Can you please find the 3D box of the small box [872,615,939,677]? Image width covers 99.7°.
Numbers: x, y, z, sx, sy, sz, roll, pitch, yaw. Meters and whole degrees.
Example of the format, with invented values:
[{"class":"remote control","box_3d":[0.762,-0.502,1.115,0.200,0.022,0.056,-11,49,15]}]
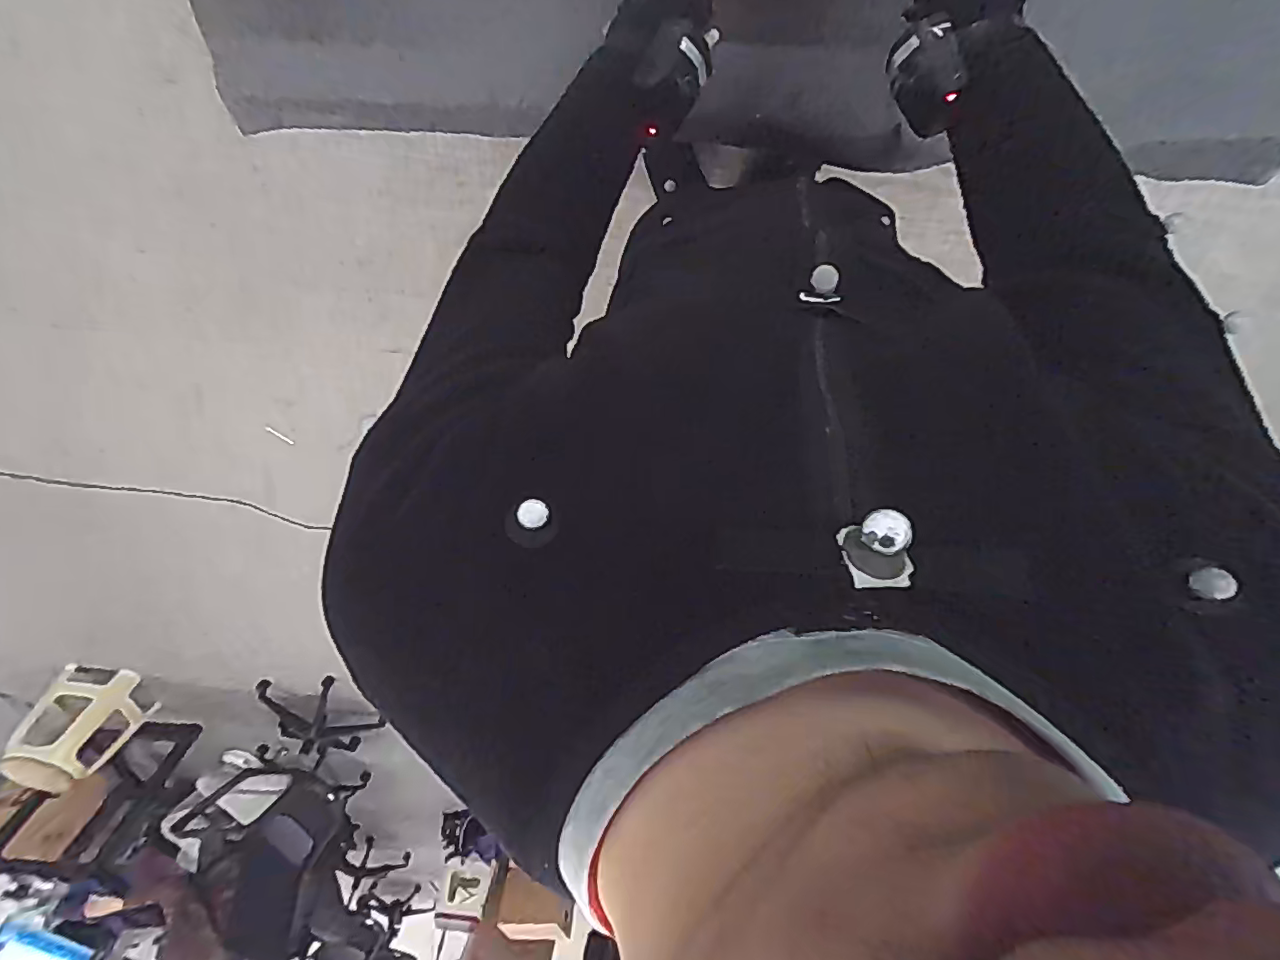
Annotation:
[{"class":"small box","box_3d":[1.045,0.657,2.145,0.168,0.176,0.179,3,127,2]}]
